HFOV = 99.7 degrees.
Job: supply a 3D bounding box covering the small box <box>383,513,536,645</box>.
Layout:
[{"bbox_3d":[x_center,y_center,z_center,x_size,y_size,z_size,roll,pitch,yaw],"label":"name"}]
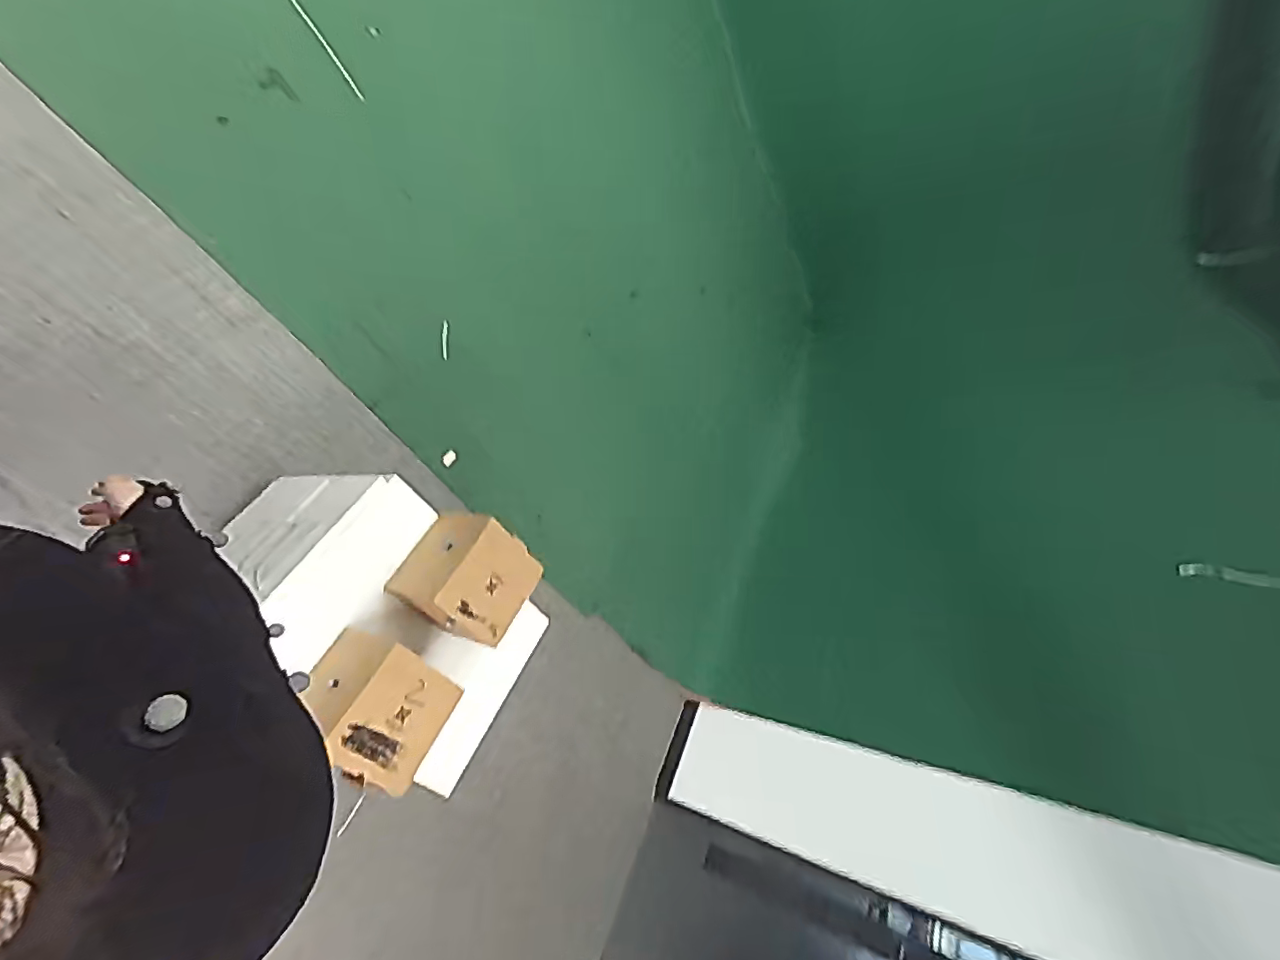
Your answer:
[{"bbox_3d":[-0.335,0.176,1.007,0.168,0.176,0.179,55,50,-37],"label":"small box"}]
